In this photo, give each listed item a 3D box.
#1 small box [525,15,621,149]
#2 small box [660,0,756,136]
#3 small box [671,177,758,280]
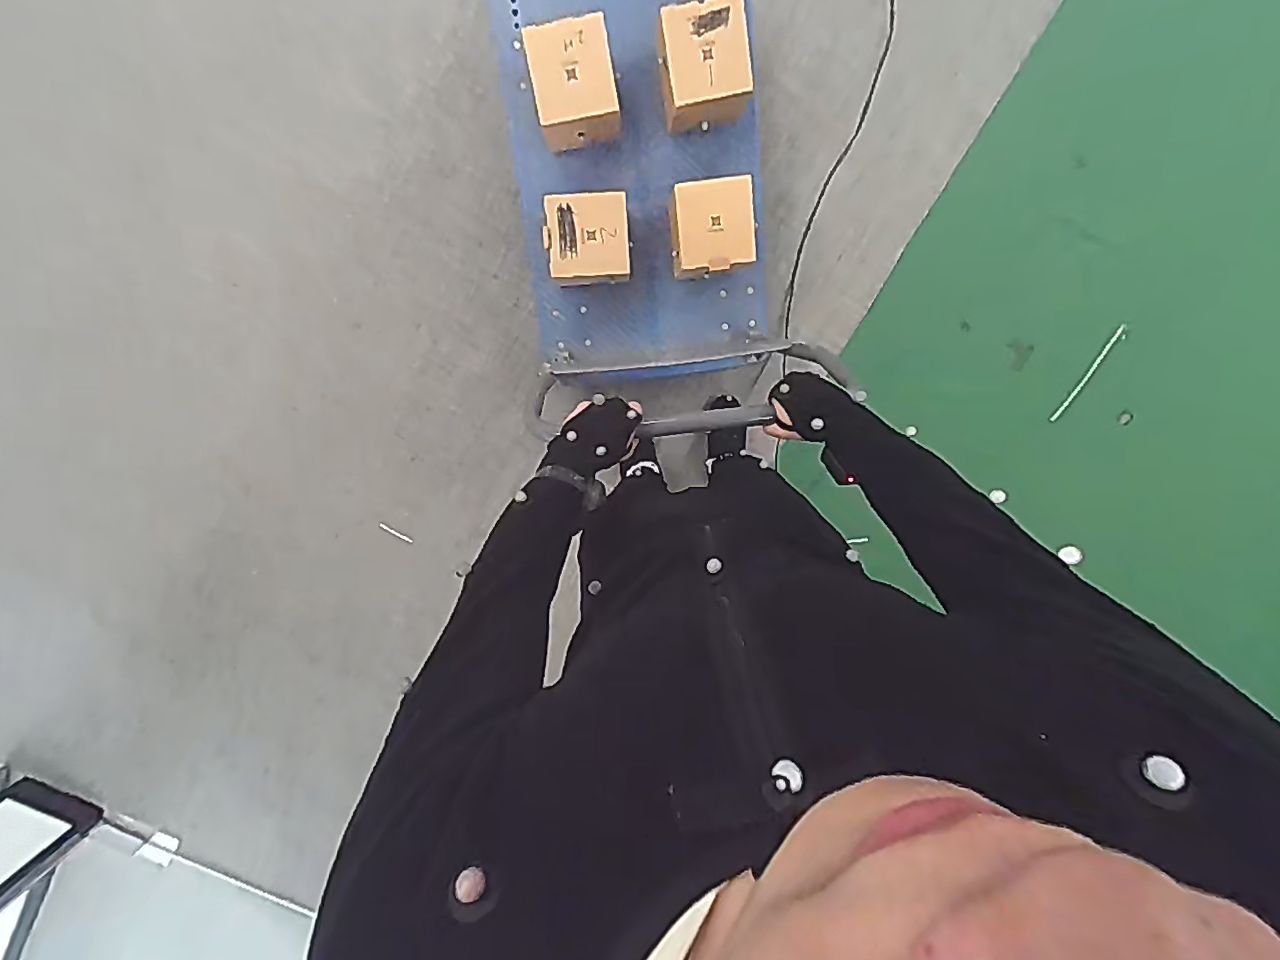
[{"bbox_3d":[-0.134,-0.833,1.154,0.168,0.176,0.179,-10,105,0],"label":"small box"},{"bbox_3d":[0.139,-0.871,1.153,0.168,0.176,0.179,-10,105,1],"label":"small box"},{"bbox_3d":[0.166,-0.565,1.233,0.168,0.176,0.179,-7,105,0],"label":"small box"}]
